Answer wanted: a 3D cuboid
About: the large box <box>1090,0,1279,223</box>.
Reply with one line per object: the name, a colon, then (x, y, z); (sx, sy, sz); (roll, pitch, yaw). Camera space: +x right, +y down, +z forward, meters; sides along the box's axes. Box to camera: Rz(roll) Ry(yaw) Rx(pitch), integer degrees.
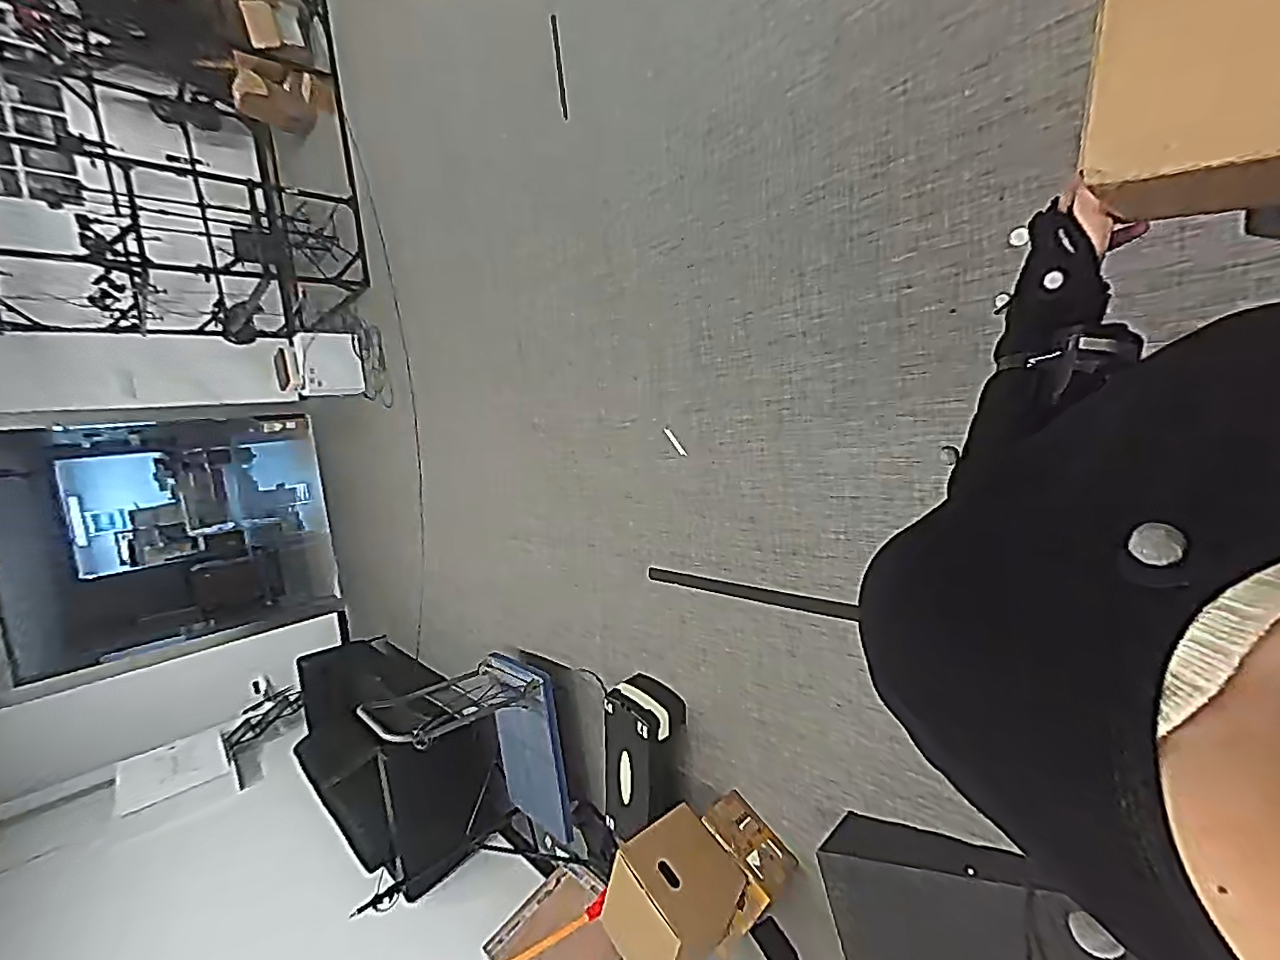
large box: (0.436, -0.300, 0.185); (0.408, 0.320, 0.320); (10, 113, 40)
